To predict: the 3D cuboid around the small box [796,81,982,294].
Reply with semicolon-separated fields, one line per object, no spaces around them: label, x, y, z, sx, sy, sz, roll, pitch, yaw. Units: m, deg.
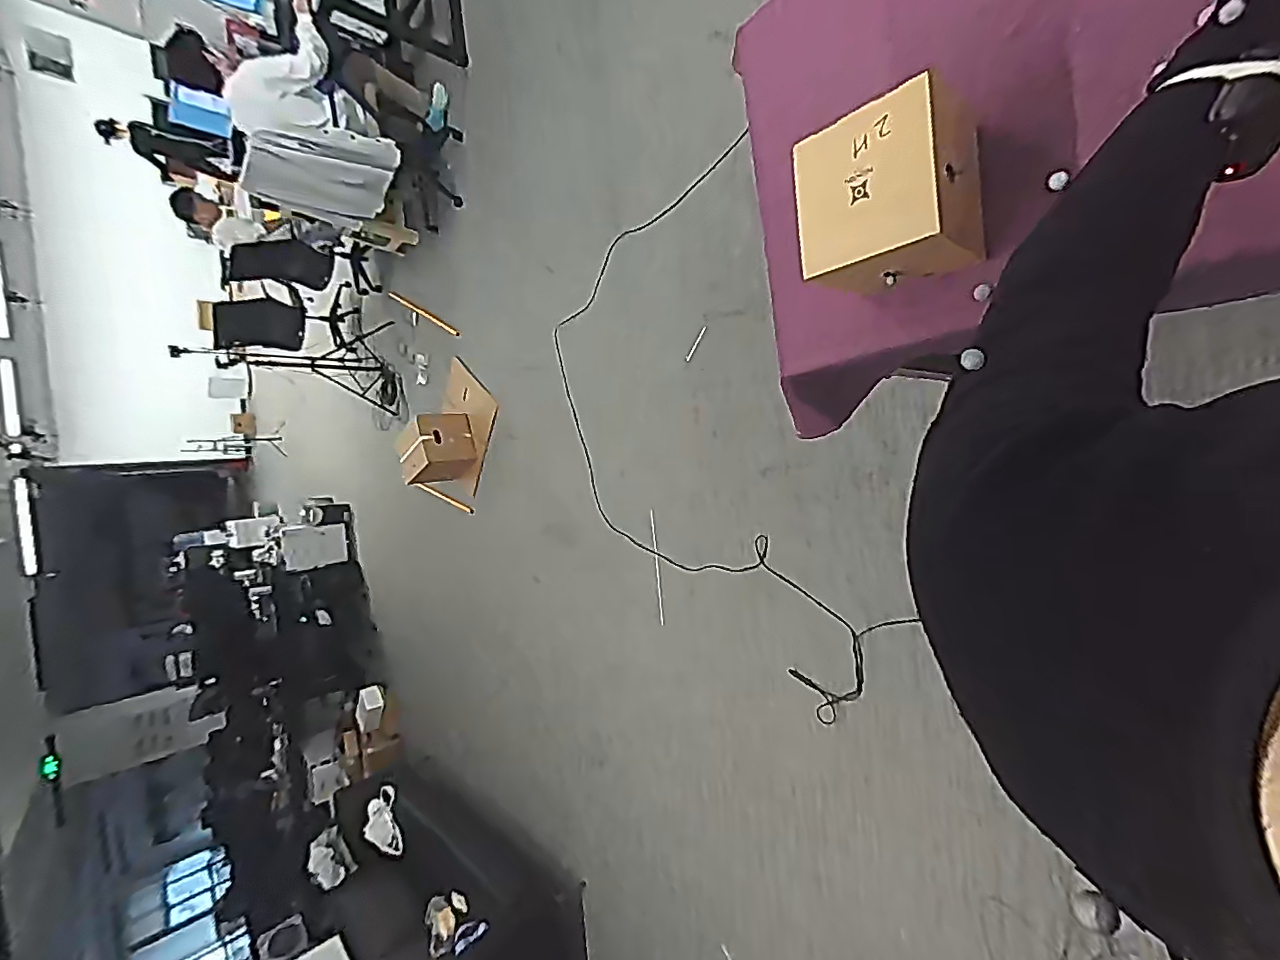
small box;0.322;-0.350;0.695;0.168;0.176;0.179;-3;92;47
